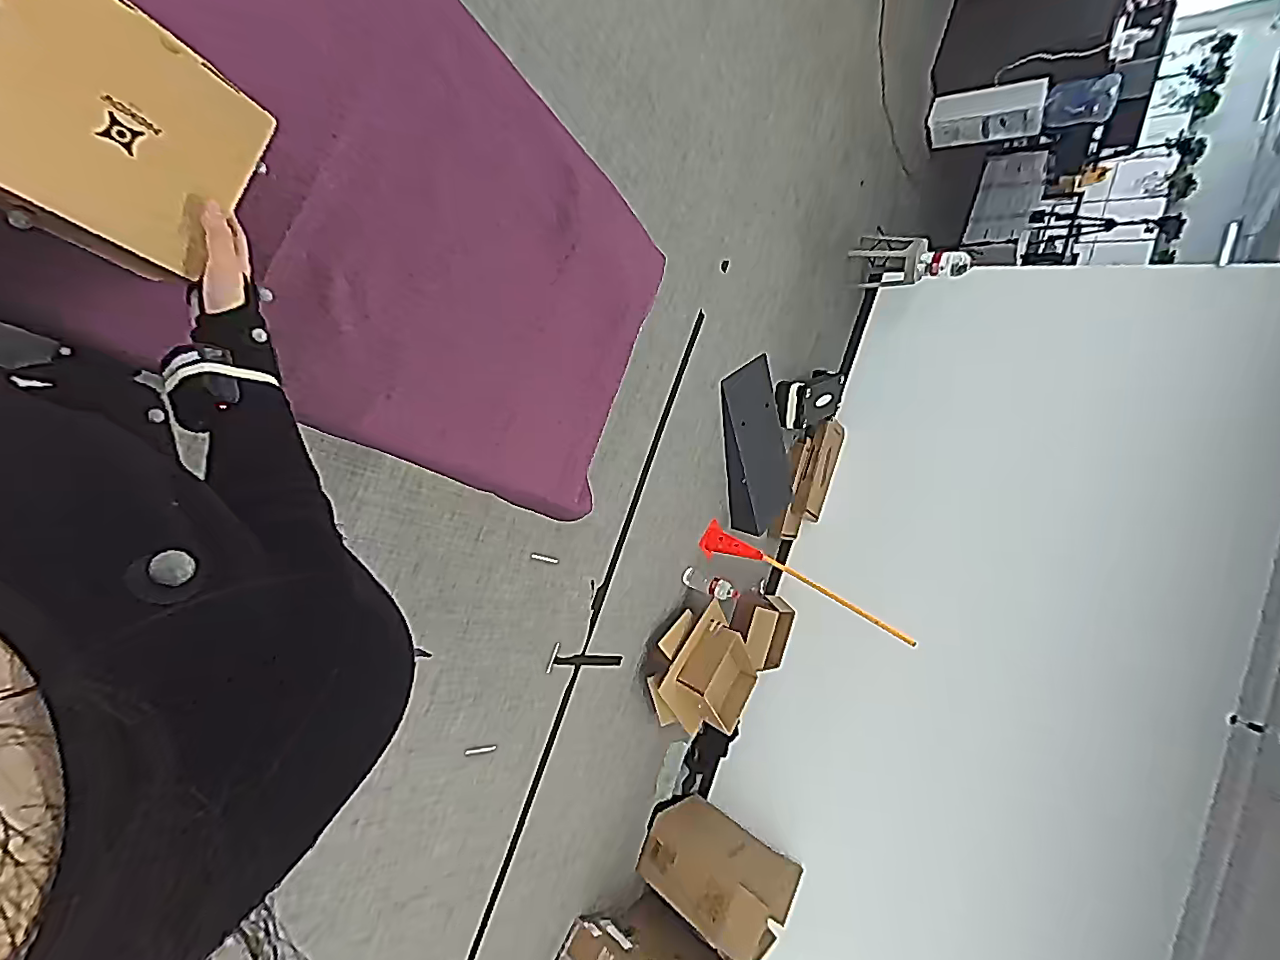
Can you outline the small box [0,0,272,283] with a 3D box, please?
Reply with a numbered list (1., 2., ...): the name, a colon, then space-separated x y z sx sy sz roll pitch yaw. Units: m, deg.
1. small box: -0.482 -0.299 0.488 0.168 0.176 0.179 29 79 -53
